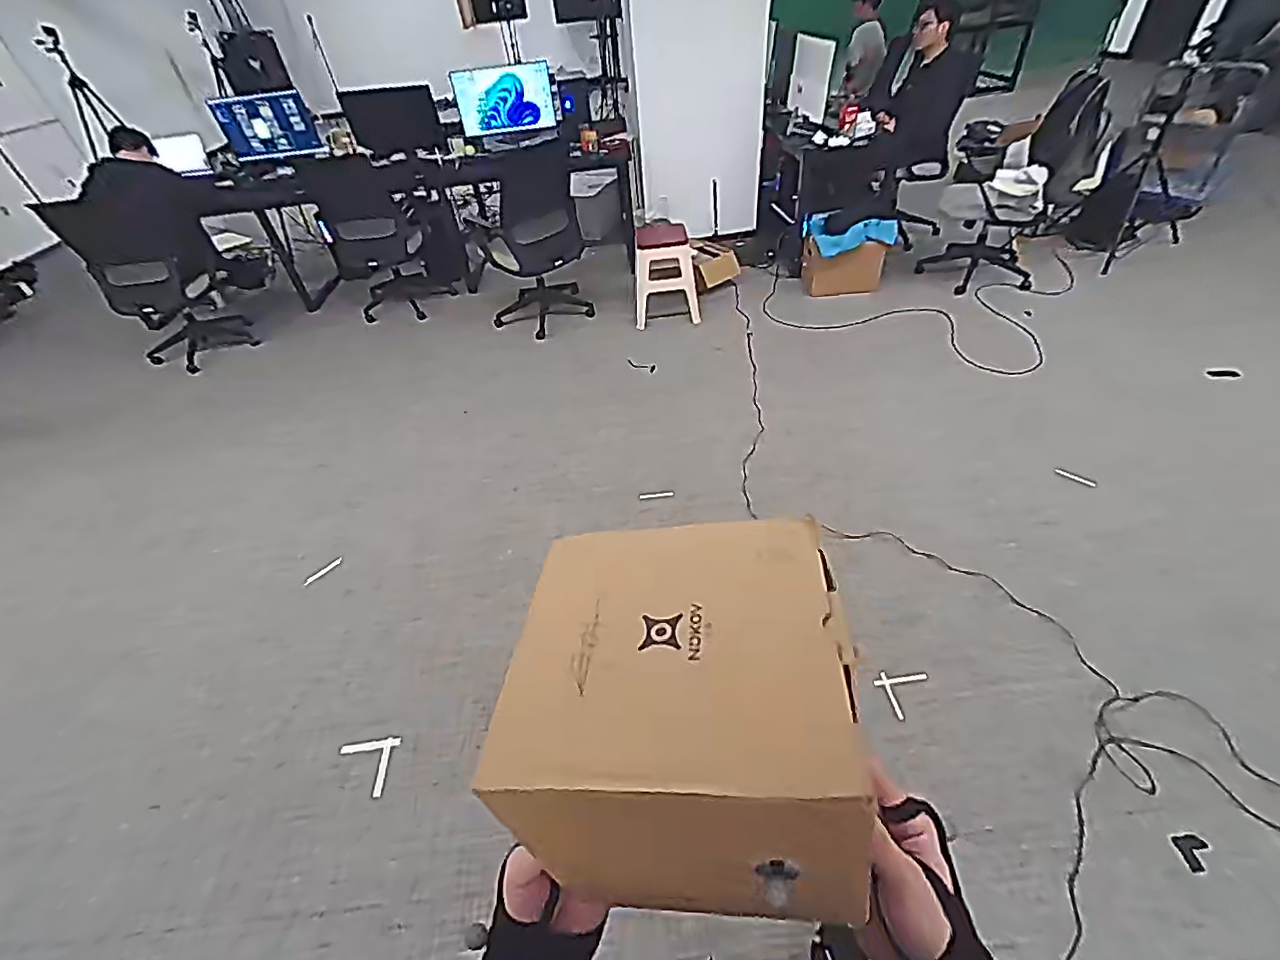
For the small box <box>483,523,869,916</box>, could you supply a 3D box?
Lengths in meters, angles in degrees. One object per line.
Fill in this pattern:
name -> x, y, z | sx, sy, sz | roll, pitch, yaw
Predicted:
small box -> 0.034, 0.151, 0.345 | 0.179, 0.176, 0.168 | -8, 36, 12
